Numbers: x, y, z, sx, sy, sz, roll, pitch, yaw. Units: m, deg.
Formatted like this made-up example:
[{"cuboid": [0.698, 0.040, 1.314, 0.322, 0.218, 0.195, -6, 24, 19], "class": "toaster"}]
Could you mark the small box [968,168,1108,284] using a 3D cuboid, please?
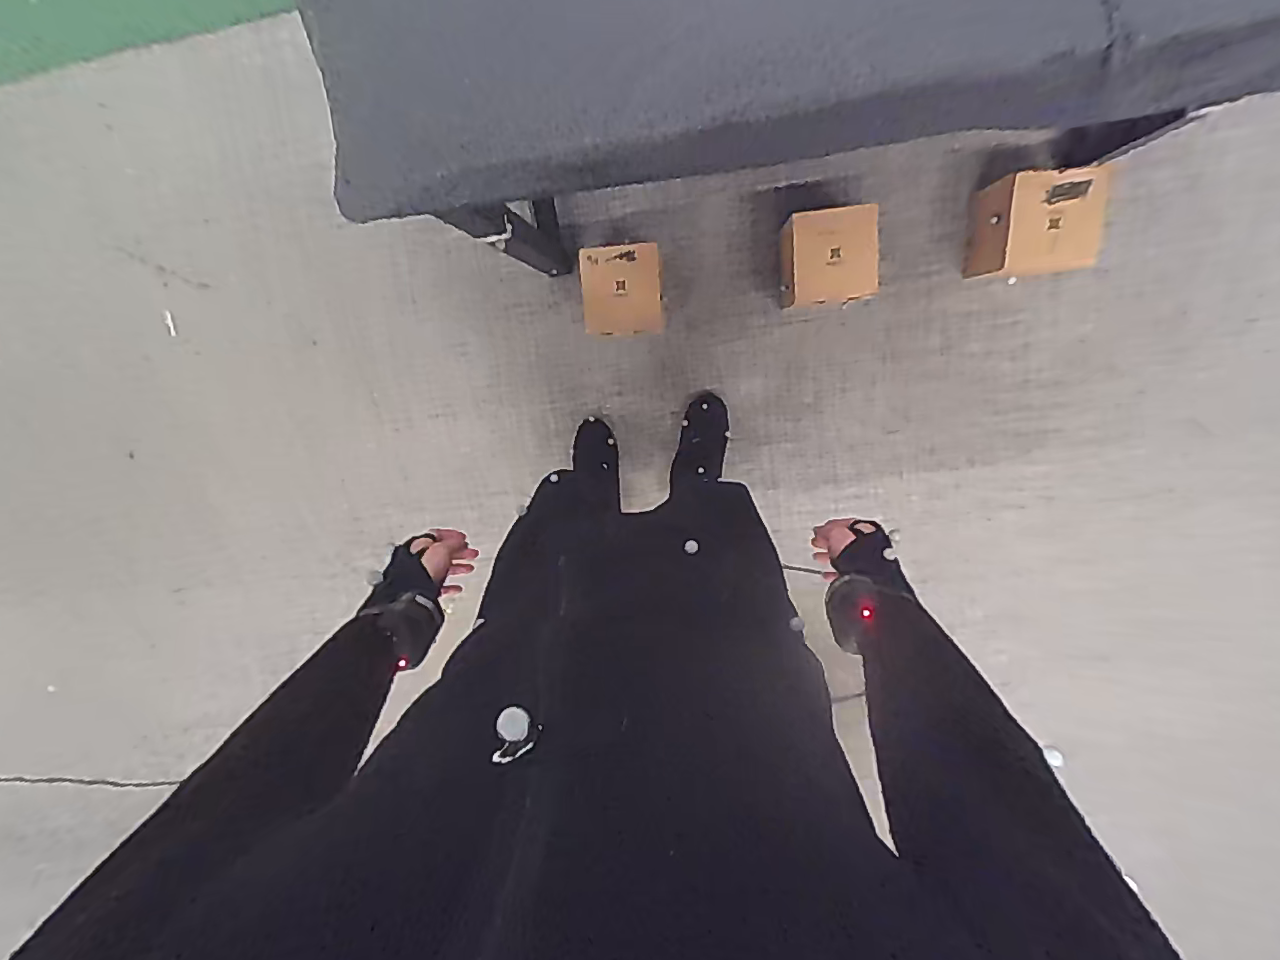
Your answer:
[{"cuboid": [0.790, -0.503, 1.092, 0.168, 0.176, 0.179, -2, 103, 7], "class": "small box"}]

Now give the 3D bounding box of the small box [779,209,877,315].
[{"cuboid": [0.395, -0.453, 1.155, 0.168, 0.176, 0.179, -5, 100, 7], "class": "small box"}]
